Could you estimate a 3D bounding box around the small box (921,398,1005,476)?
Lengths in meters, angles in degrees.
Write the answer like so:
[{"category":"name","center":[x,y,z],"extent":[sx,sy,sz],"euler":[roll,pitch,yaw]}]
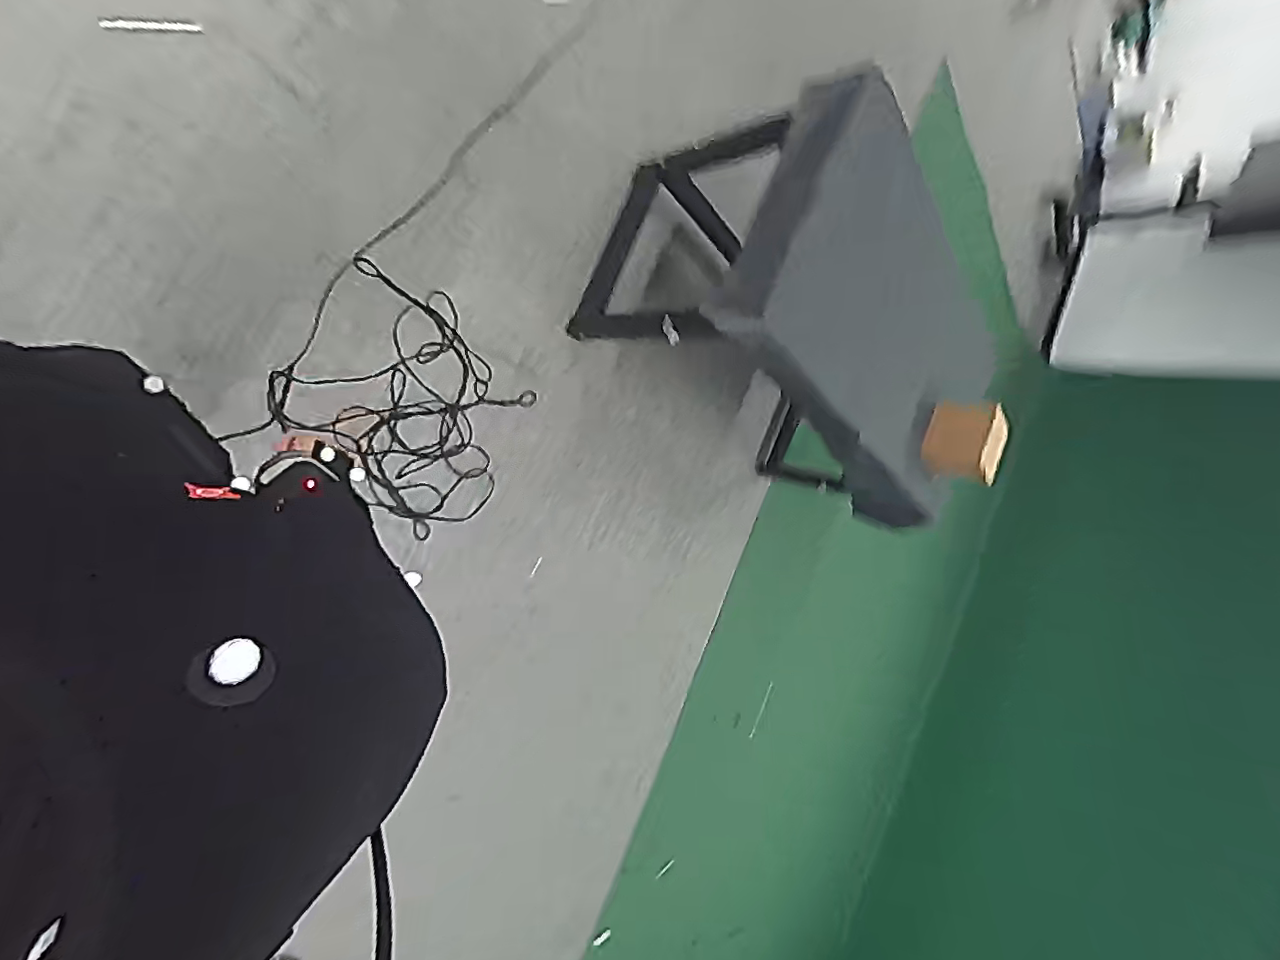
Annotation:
[{"category":"small box","center":[0.973,-0.134,1.638],"extent":[0.168,0.176,0.179],"euler":[30,79,-44]}]
